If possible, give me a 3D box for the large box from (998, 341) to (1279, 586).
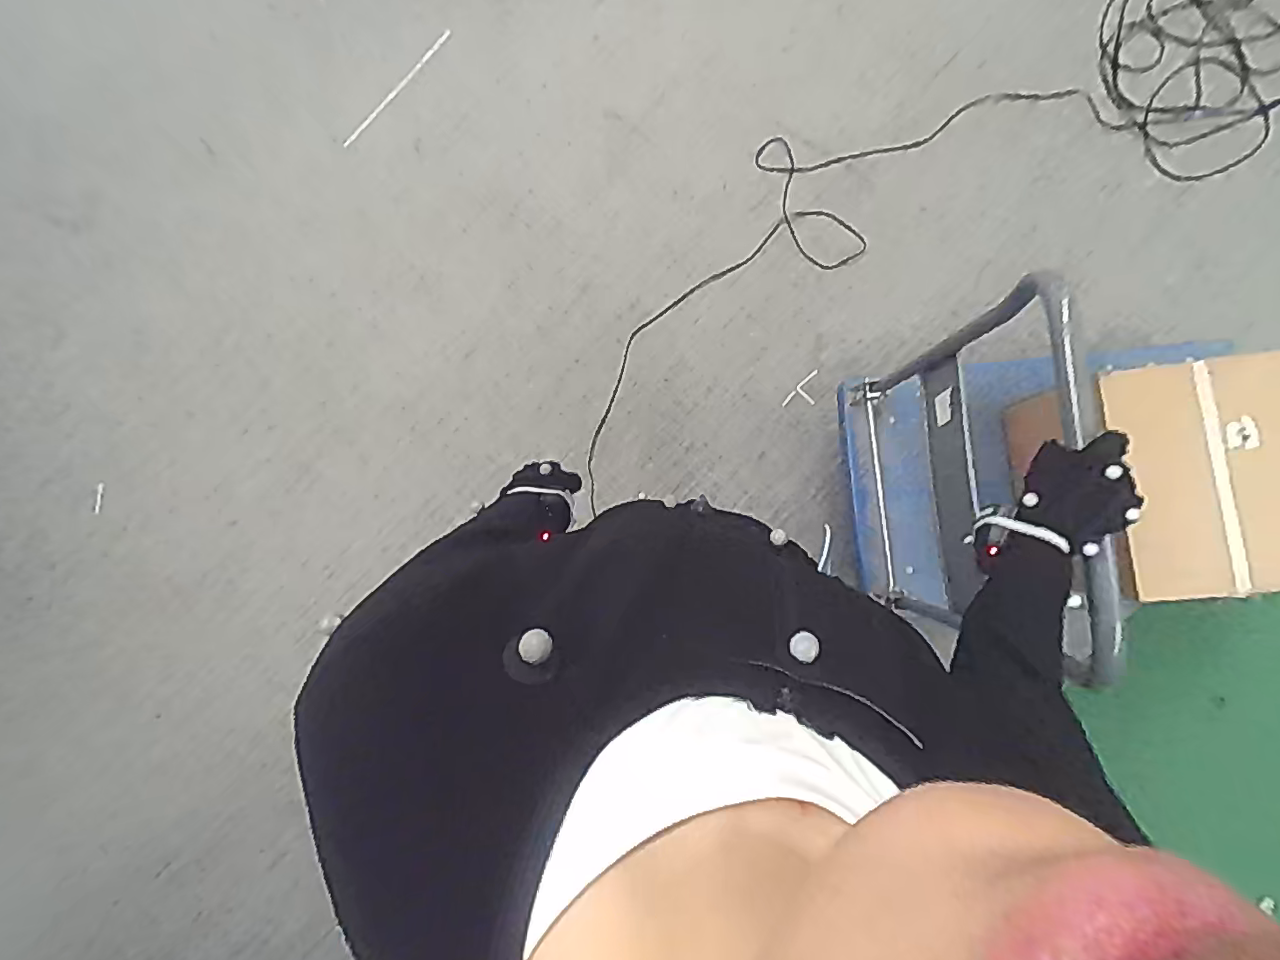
[{"bbox_3d":[0.985,-0.018,1.083,0.320,0.320,0.408,-6,85,5],"label":"large box"}]
